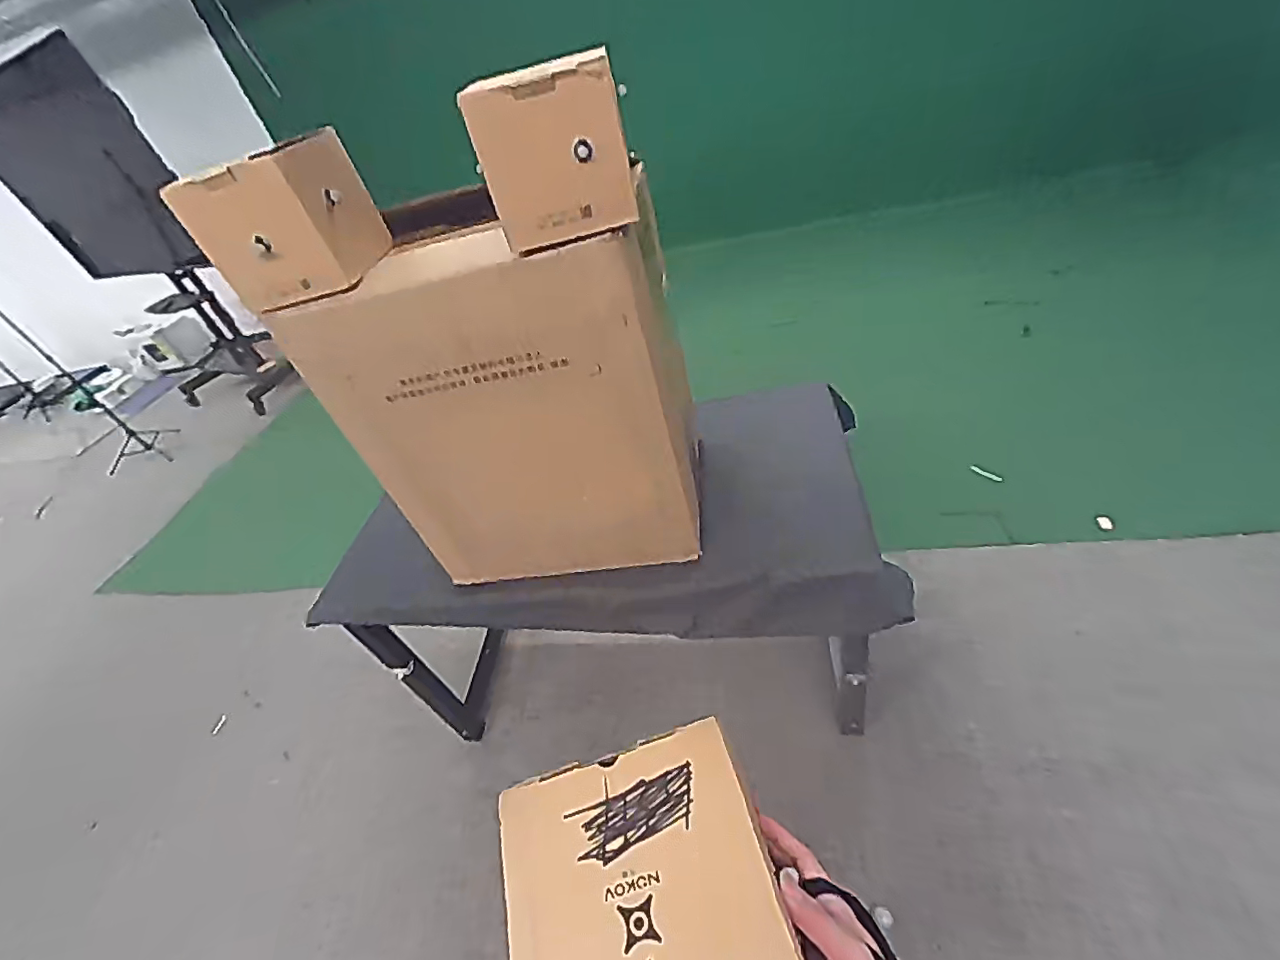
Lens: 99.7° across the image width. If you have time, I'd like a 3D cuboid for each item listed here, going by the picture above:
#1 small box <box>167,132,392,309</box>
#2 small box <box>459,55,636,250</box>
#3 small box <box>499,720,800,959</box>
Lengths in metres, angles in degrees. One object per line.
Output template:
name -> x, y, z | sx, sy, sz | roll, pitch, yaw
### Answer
small box -> -0.487, -0.359, 0.766 | 0.168, 0.176, 0.179 | -11, 41, 10
small box -> -0.102, -0.405, 0.679 | 0.168, 0.176, 0.179 | -11, 40, 5
small box -> 0.014, 0.305, 0.386 | 0.168, 0.176, 0.179 | -20, 49, 1
